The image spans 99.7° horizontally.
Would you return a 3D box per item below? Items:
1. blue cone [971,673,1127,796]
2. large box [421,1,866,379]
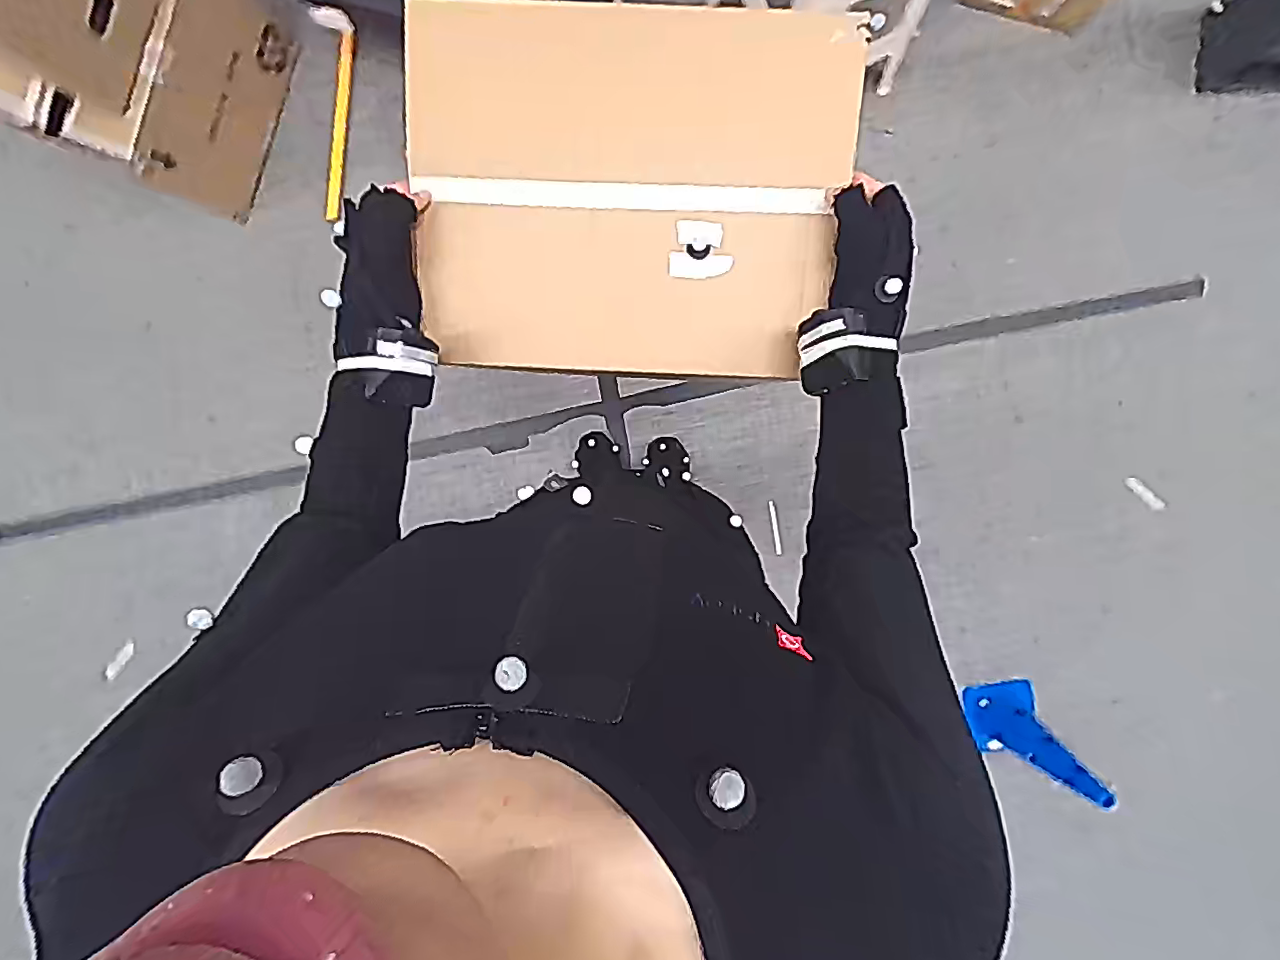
[{"bbox_3d":[1.036,0.662,1.367,0.192,0.380,0.193,-8,95,0],"label":"blue cone"},{"bbox_3d":[-0.003,-0.289,0.648,0.408,0.320,0.320,3,100,0],"label":"large box"}]
